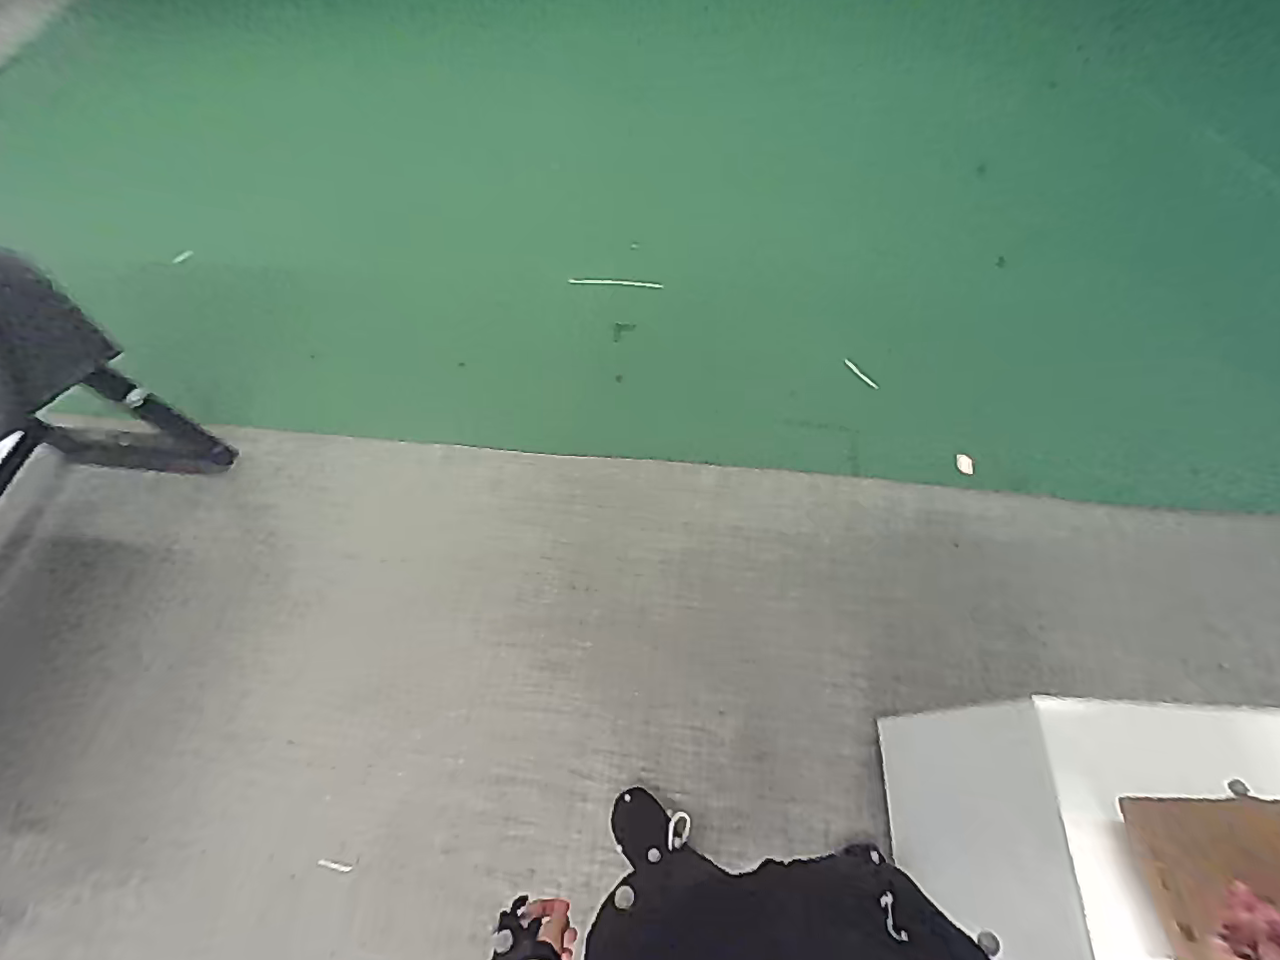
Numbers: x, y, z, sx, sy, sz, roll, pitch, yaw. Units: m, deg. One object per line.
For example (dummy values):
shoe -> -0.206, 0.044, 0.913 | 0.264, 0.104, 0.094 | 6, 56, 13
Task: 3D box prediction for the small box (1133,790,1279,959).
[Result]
small box -> 0.571, 0.353, 0.446 | 0.179, 0.176, 0.168 | 1, 61, -2
